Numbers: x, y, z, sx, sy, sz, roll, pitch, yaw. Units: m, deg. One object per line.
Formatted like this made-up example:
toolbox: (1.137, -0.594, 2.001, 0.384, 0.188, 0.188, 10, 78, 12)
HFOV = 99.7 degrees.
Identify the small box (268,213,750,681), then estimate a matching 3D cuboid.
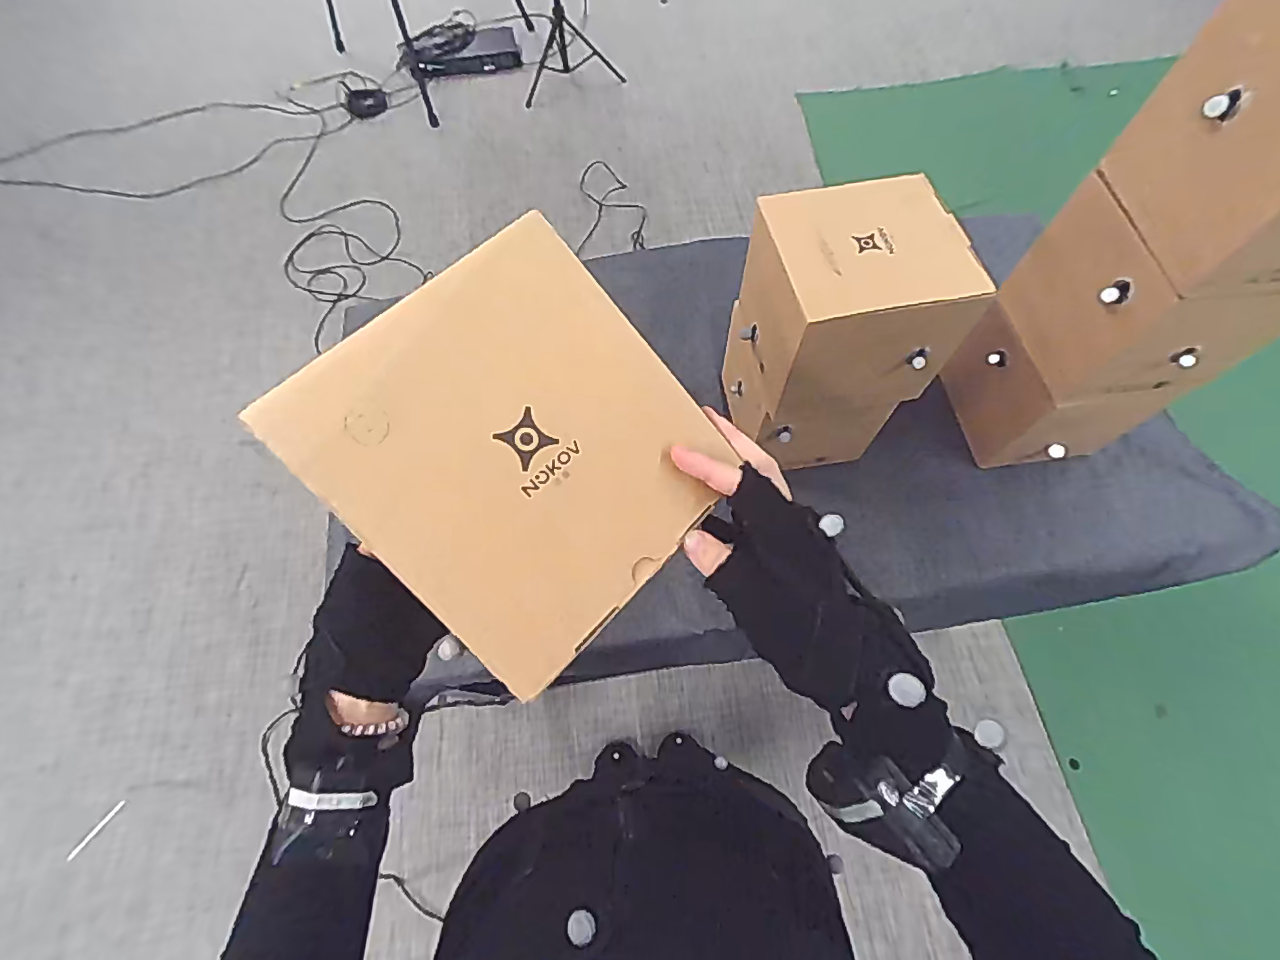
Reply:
small box: (-0.075, -0.013, 0.336, 0.168, 0.176, 0.179, -45, 102, -18)

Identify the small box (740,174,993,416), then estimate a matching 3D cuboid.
small box: (0.220, -0.189, 0.582, 0.179, 0.176, 0.168, -10, 64, -2)

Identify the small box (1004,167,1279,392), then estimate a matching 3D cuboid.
small box: (0.540, -0.207, 0.578, 0.168, 0.176, 0.179, -5, 65, -1)
